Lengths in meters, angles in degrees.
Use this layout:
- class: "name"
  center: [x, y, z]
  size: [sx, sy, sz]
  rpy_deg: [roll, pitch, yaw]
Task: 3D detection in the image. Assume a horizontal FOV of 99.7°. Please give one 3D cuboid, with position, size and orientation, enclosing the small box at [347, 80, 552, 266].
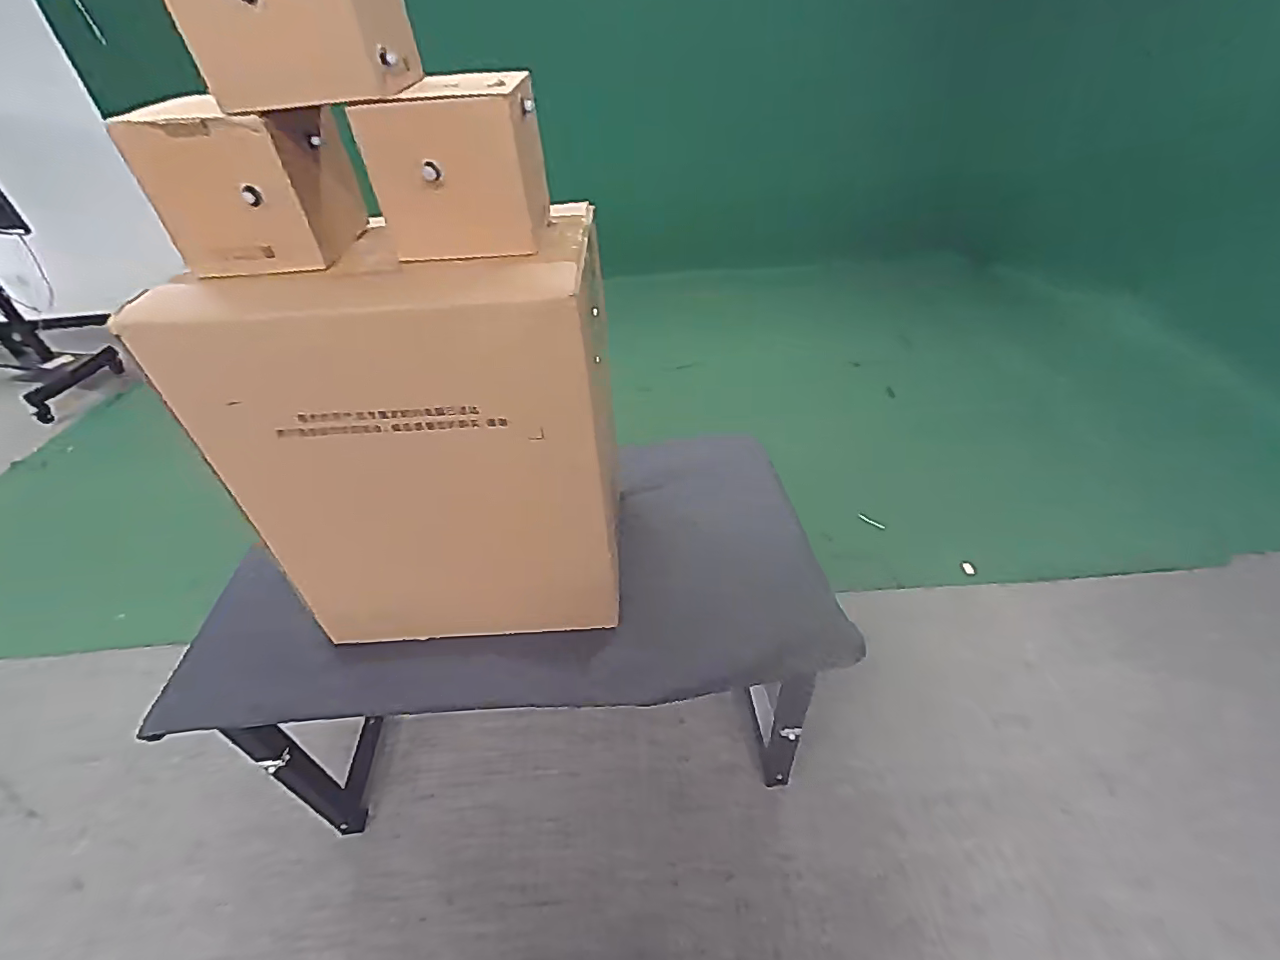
- class: "small box"
  center: [-0.220, -0.382, 0.680]
  size: [0.179, 0.176, 0.168]
  rpy_deg: [-4, 43, 2]

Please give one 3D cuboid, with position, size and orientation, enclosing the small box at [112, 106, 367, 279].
- class: "small box"
  center: [-0.476, -0.363, 0.683]
  size: [0.168, 0.176, 0.179]
  rpy_deg: [-3, 41, -1]

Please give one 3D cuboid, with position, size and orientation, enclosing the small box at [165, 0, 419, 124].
- class: "small box"
  center: [-0.359, -0.494, 0.570]
  size: [0.179, 0.176, 0.168]
  rpy_deg: [-6, 42, 1]
